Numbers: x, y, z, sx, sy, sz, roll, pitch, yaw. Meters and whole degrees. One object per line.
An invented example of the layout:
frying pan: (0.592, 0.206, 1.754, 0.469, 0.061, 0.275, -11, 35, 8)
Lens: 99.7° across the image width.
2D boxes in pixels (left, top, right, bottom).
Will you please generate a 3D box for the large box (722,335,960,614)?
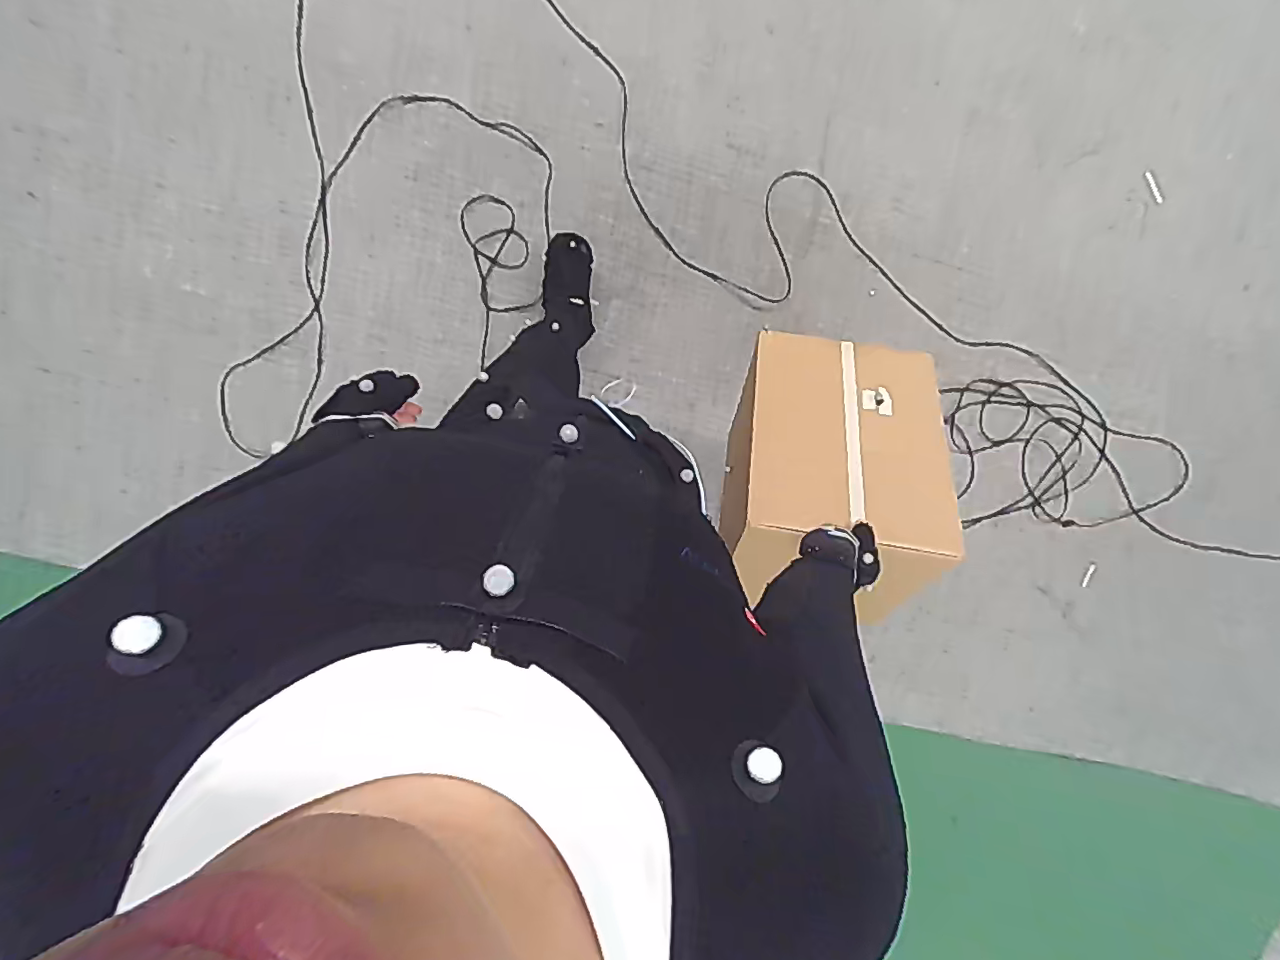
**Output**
large box: (0.338, -0.004, 1.016, 0.320, 0.320, 0.408, 9, 58, 3)
